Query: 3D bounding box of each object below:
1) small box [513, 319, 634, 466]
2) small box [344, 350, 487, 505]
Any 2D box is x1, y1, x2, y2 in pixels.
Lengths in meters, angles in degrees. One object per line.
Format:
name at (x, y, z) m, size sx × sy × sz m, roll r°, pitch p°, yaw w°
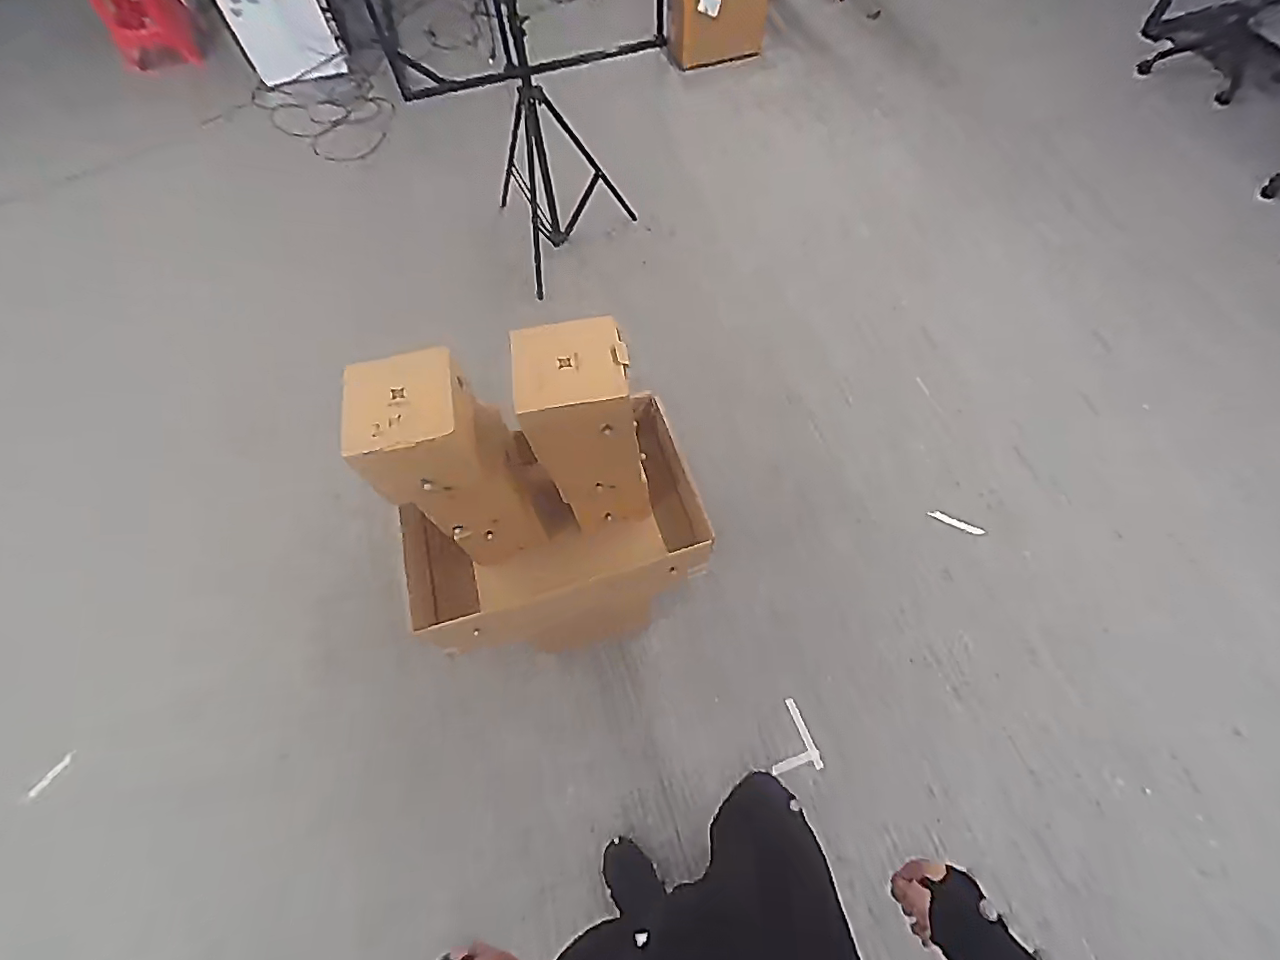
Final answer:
small box at (-0.105, -0.140, 0.910) m, size 0.179 × 0.176 × 0.168 m, roll -9°, pitch 64°, yaw 0°
small box at (-0.360, -0.082, 0.888) m, size 0.168 × 0.176 × 0.179 m, roll -12°, pitch 64°, yaw -4°
